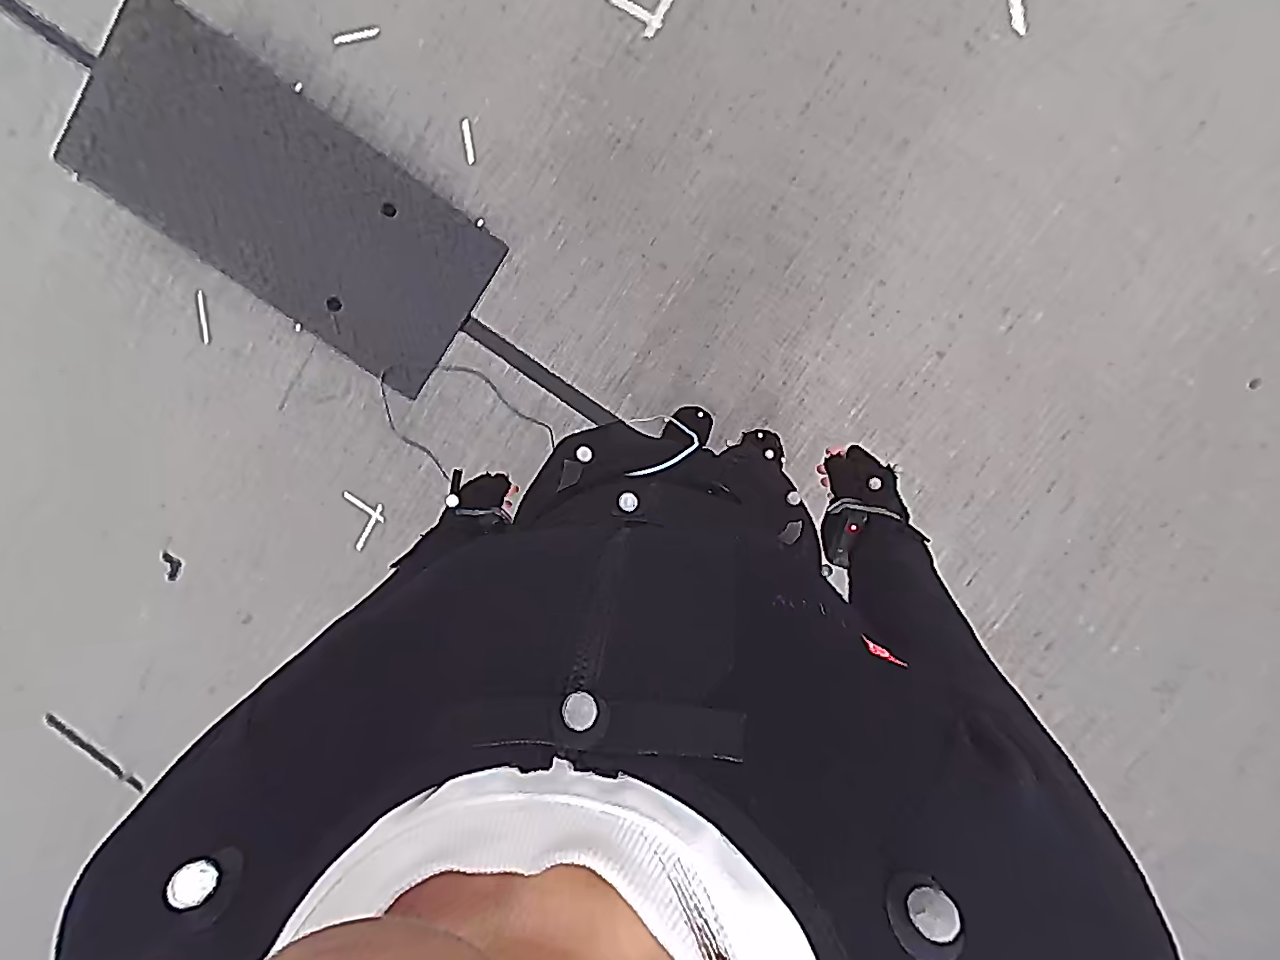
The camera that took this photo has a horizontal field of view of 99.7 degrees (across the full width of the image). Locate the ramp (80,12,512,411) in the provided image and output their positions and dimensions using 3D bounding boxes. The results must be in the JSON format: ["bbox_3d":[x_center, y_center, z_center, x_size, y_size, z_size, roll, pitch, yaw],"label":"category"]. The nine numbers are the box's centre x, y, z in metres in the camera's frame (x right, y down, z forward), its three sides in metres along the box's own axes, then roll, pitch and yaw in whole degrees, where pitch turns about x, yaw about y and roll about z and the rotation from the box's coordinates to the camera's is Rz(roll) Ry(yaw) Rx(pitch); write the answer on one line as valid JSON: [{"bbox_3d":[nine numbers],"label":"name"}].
[{"bbox_3d":[-0.875,-0.659,1.407,0.991,0.206,0.509,34,98,2],"label":"ramp"}]
